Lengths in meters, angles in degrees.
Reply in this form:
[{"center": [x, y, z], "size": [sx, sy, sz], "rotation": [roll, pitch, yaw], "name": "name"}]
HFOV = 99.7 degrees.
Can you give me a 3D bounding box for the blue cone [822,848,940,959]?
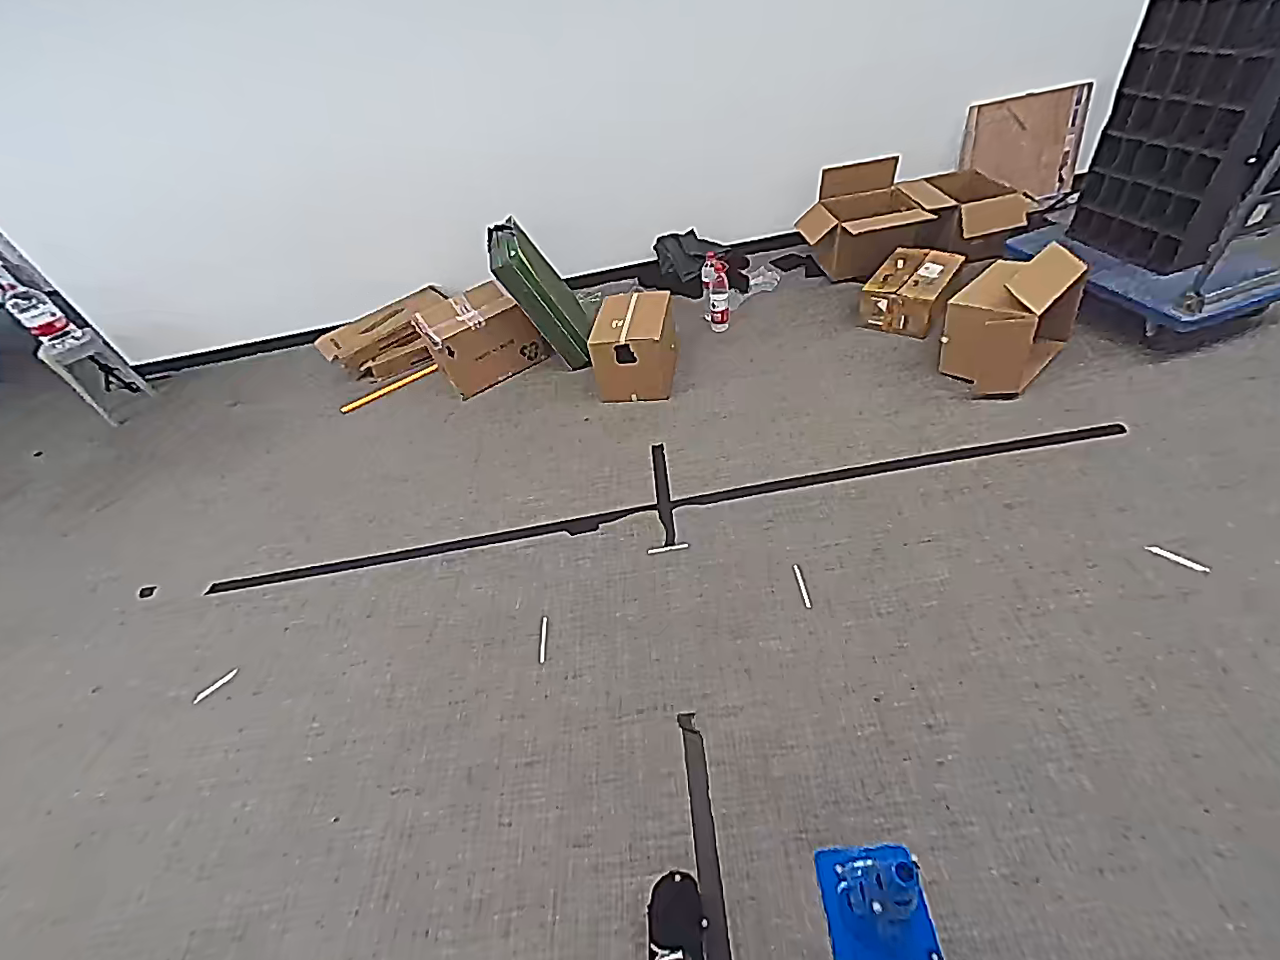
[{"center": [0.450, 0.742, 0.972], "size": [0.192, 0.380, 0.193], "rotation": [-6, 45, 7], "name": "blue cone"}]
